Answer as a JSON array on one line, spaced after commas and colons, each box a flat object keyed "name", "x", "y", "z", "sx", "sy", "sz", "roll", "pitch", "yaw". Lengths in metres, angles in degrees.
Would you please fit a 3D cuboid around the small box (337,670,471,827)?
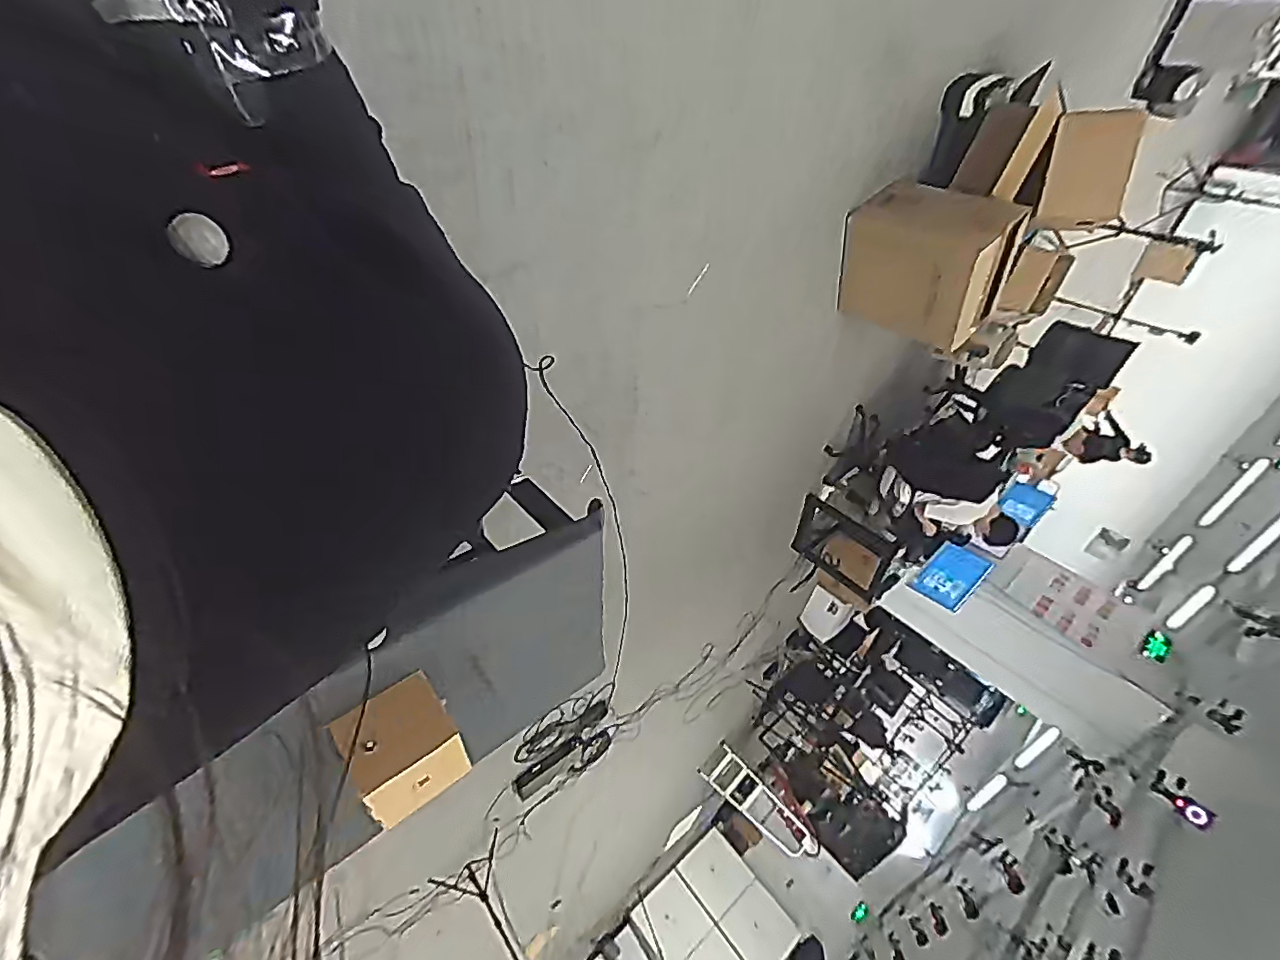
[{"name": "small box", "x": -0.454, "y": 0.507, "z": 1.036, "sx": 0.179, "sy": 0.176, "sz": 0.168, "roll": -29, "pitch": 141, "yaw": -32}]
